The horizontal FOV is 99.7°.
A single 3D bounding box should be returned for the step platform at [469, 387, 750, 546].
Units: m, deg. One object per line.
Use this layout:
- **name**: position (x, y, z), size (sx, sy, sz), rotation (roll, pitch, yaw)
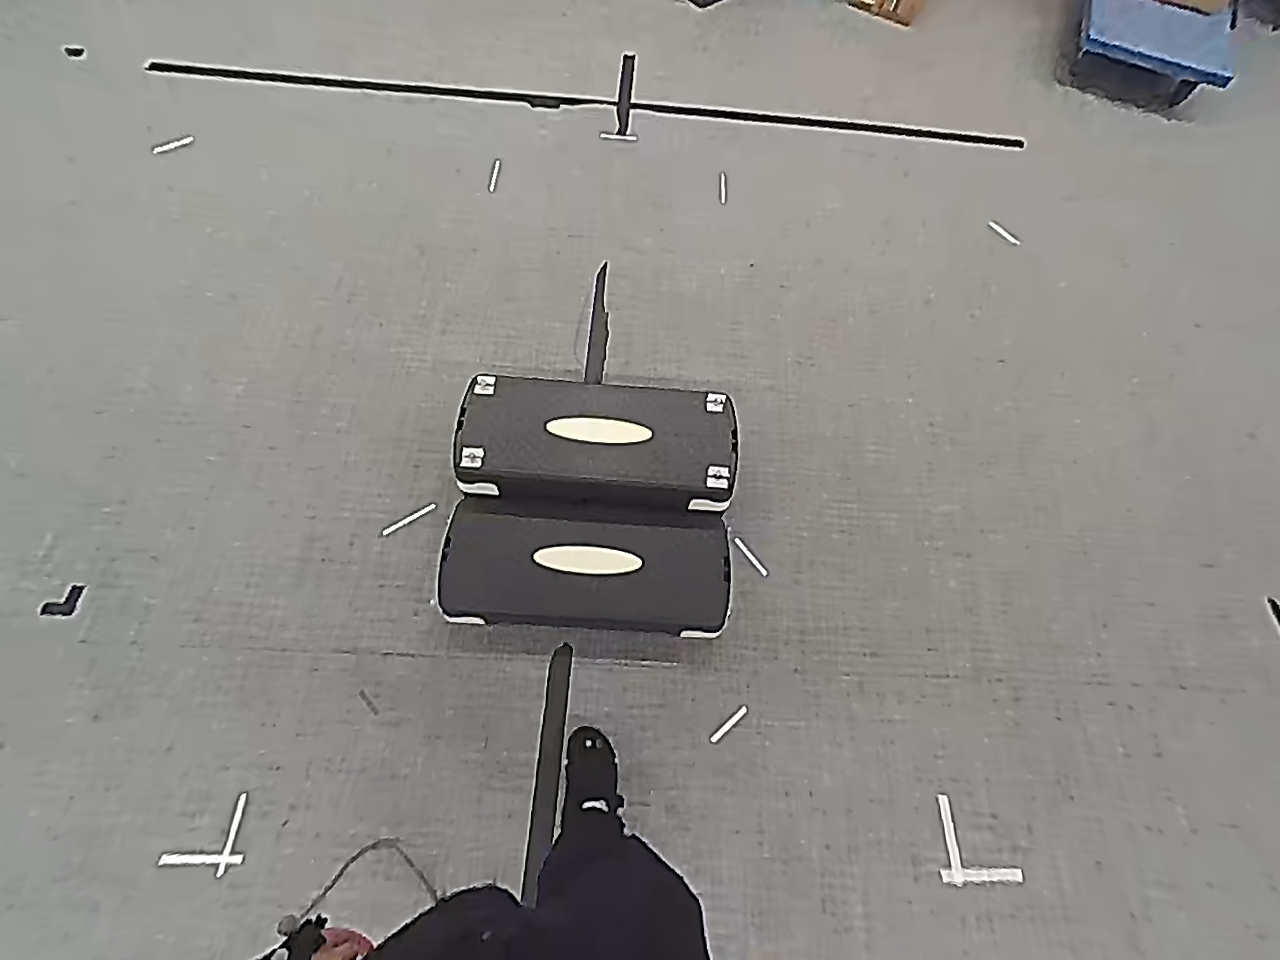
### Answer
- **step platform**: position (-0.071, -0.033, 1.365), size (0.684, 0.204, 0.286), rotation (9, 64, -1)
